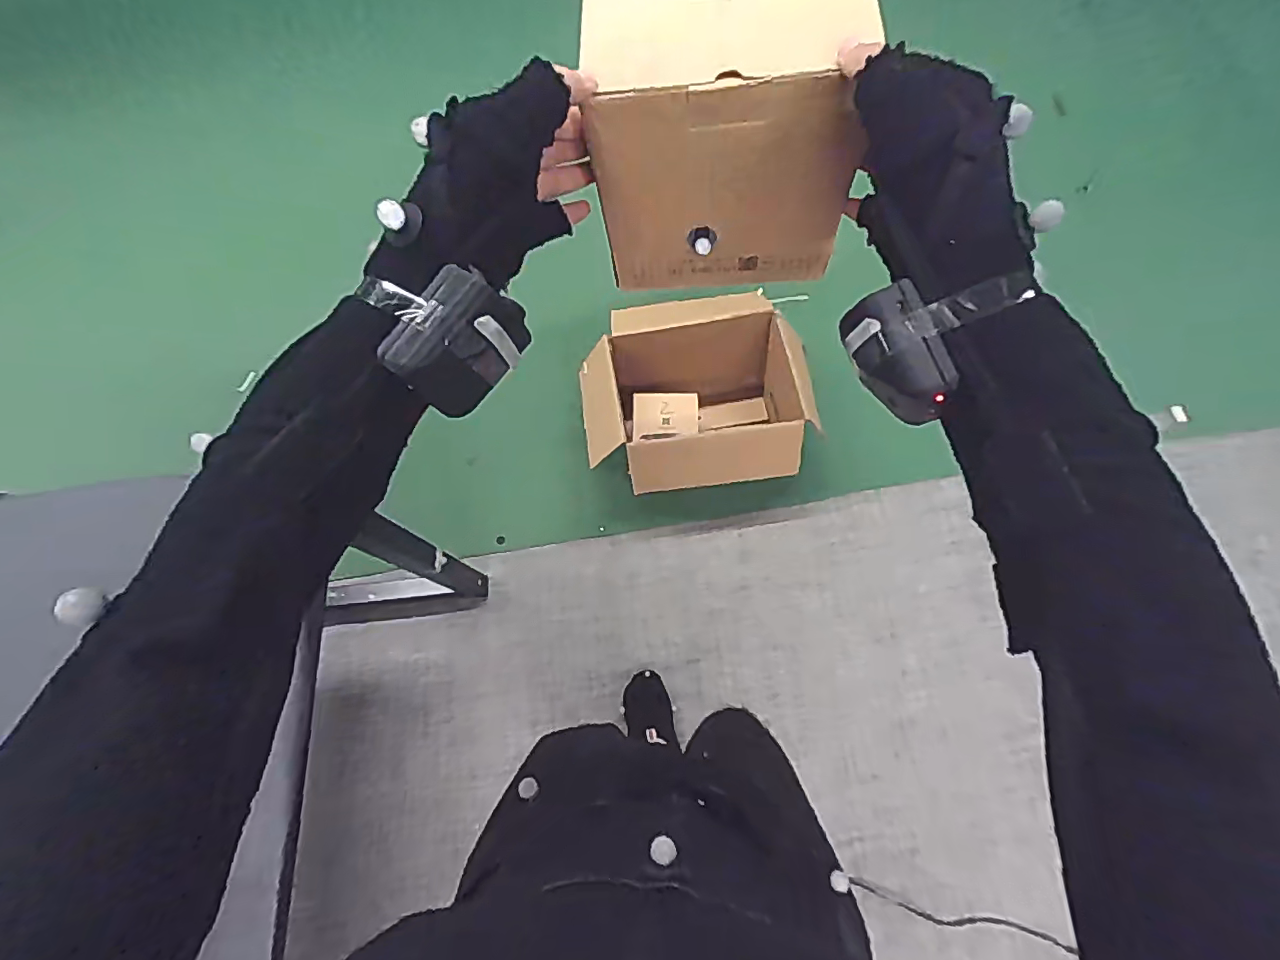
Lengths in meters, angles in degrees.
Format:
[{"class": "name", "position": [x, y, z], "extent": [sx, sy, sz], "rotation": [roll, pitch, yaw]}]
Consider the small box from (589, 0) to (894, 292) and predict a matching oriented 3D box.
[{"class": "small box", "position": [0.061, -0.264, 0.392], "extent": [0.168, 0.176, 0.179], "rotation": [-2, 73, 6]}]
